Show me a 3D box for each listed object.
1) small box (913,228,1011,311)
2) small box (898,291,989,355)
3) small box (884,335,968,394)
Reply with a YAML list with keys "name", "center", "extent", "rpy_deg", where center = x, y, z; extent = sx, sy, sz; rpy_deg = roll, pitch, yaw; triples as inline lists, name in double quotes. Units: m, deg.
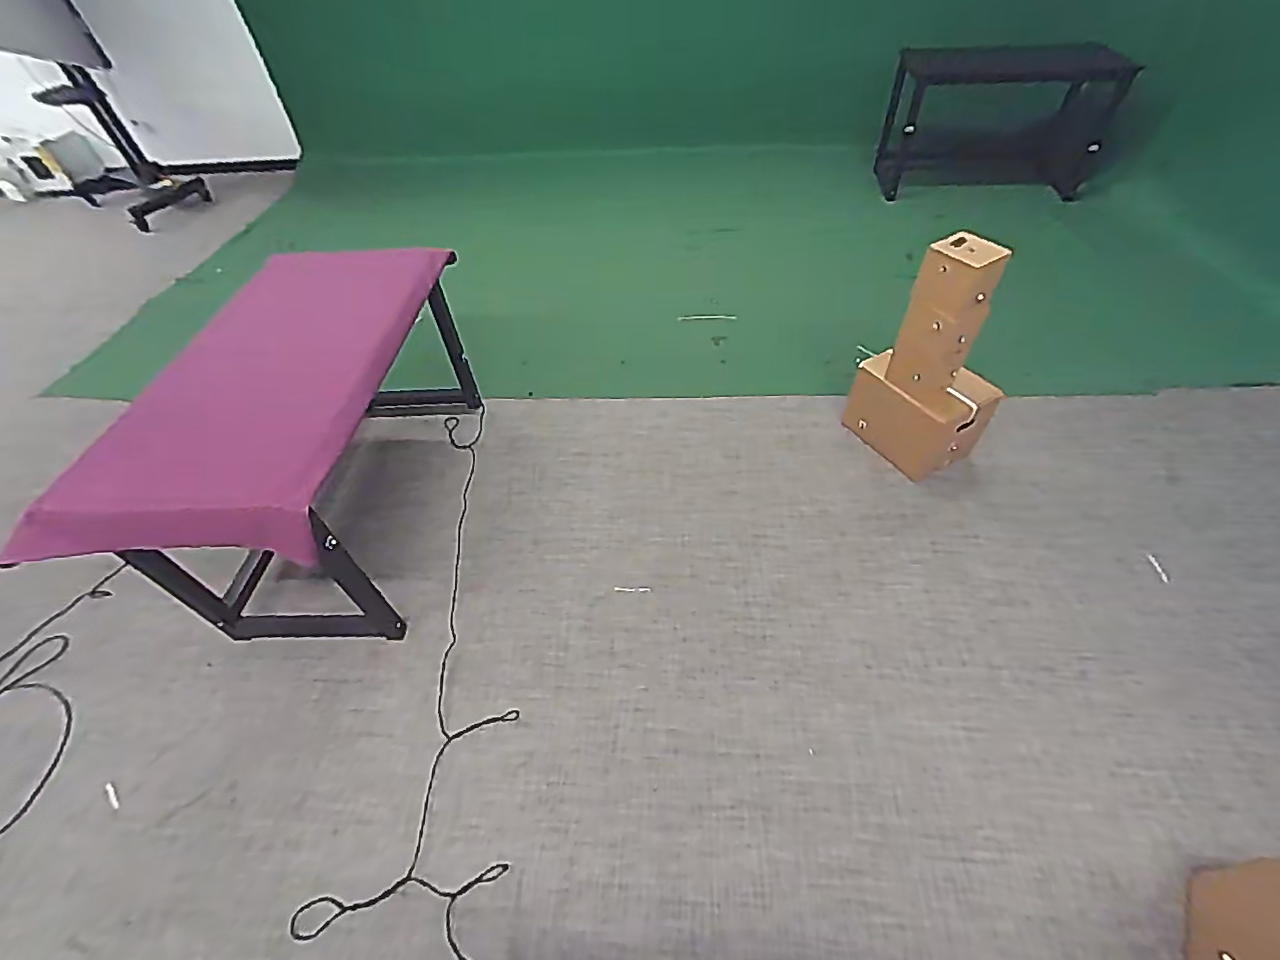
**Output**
- name: "small box"
  center: [0.996, -0.657, 1.693]
  extent: [0.168, 0.176, 0.179]
  rpy_deg: [-27, 54, -19]
- name: "small box"
  center: [1.004, -0.536, 1.805]
  extent: [0.168, 0.176, 0.179]
  rpy_deg: [-22, 51, -16]
- name: "small box"
  center: [1.013, -0.429, 1.929]
  extent: [0.168, 0.176, 0.179]
  rpy_deg: [-24, 52, -17]
